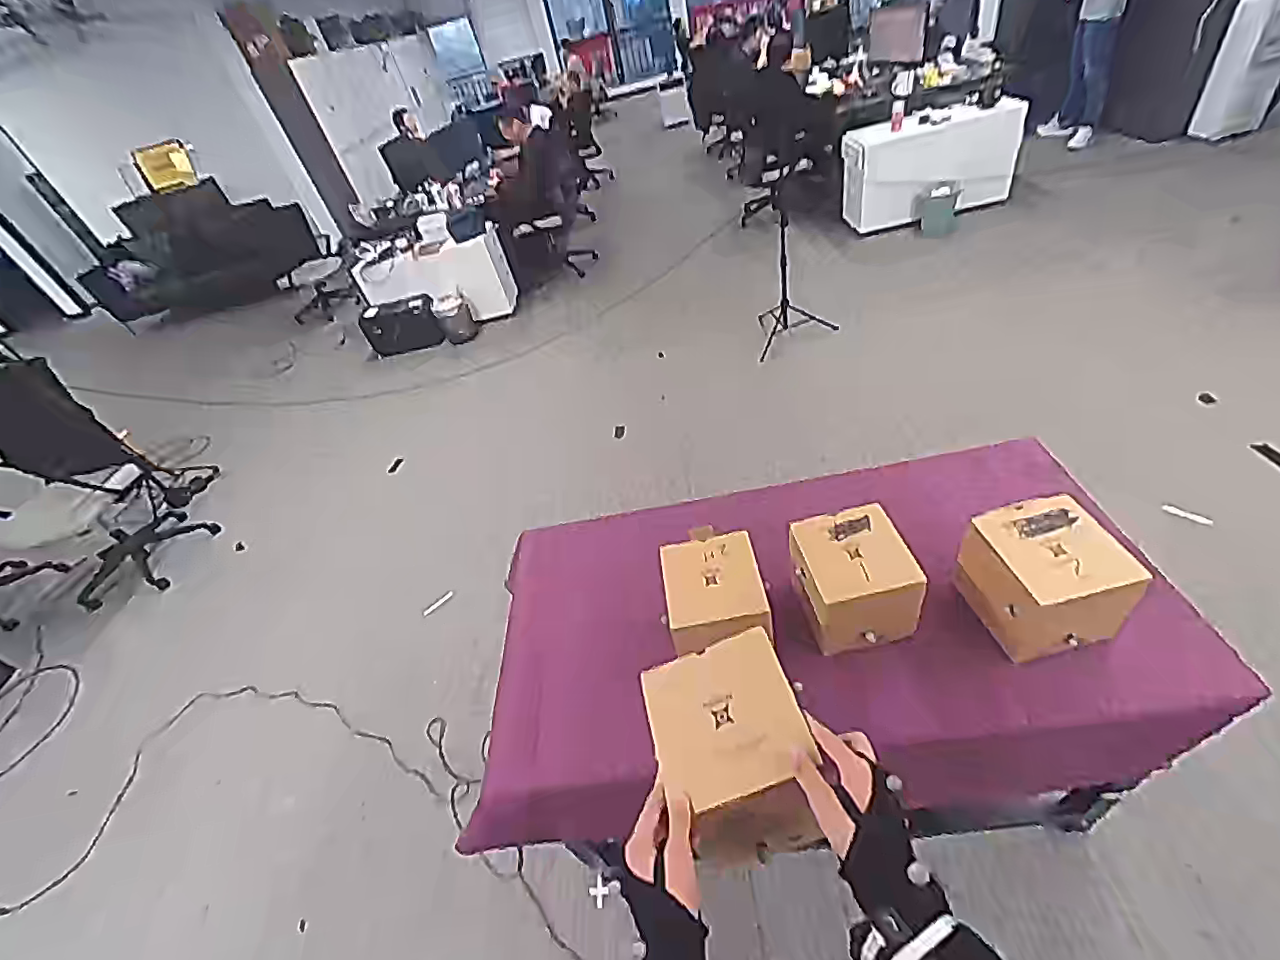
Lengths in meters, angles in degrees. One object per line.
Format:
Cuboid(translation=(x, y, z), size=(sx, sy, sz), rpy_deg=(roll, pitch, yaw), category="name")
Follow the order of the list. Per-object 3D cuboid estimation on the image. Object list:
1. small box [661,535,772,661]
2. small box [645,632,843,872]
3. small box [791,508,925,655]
Cuboid(translation=(0.141, 0.232, 0.991), size=(0.168, 0.176, 0.179), rpy_deg=(-12, 41, 5), category="small box")
Cuboid(translation=(0.121, 0.324, 0.650), size=(0.168, 0.176, 0.179), rpy_deg=(-24, 34, 5), category="small box")
Cuboid(translation=(0.376, 0.183, 0.970), size=(0.168, 0.176, 0.179), rpy_deg=(-14, 42, 3), category="small box")
